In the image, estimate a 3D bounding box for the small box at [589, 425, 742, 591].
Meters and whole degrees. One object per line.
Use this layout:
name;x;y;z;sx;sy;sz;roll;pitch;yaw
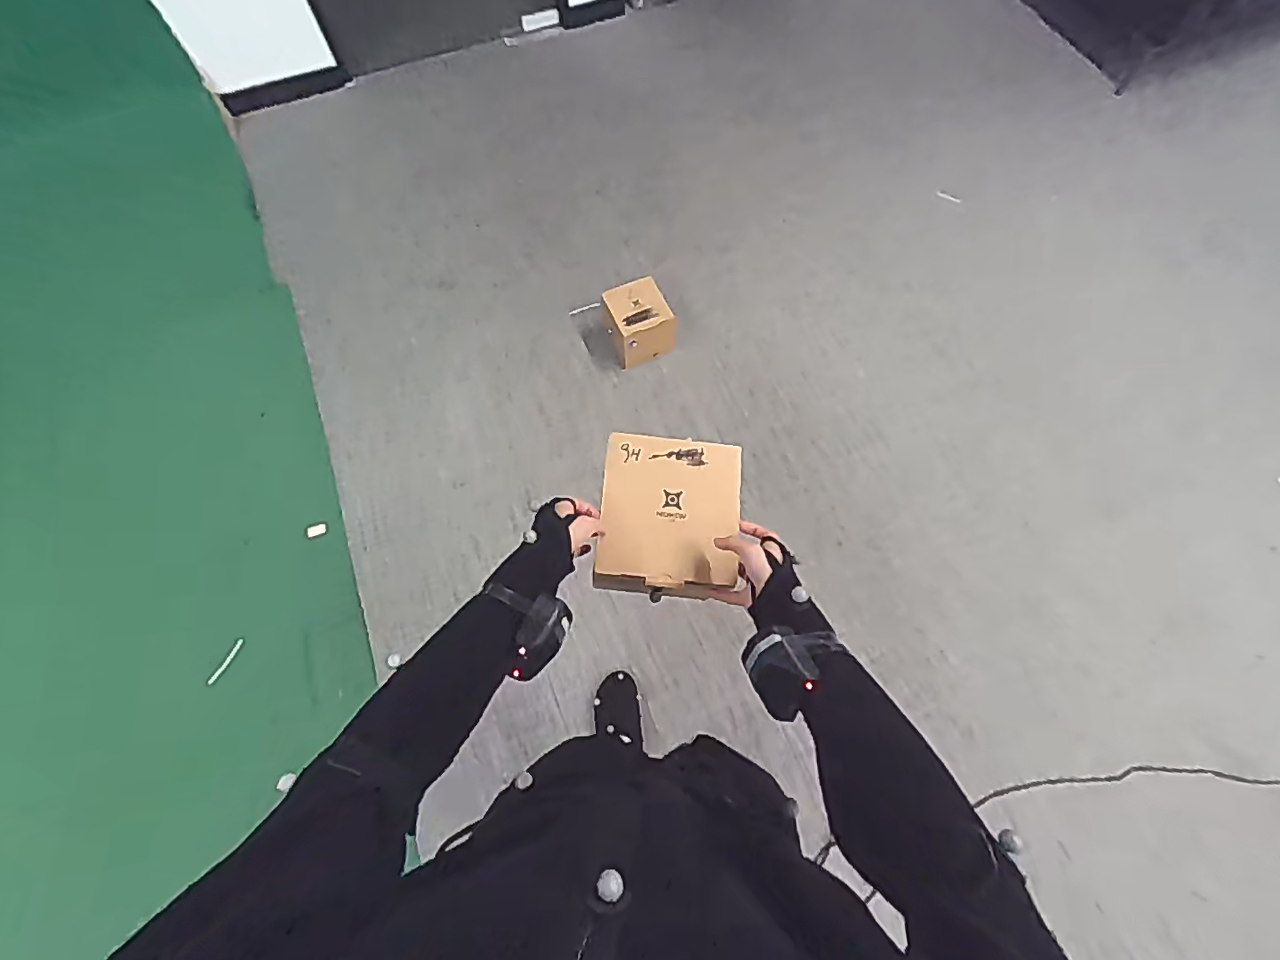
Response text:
small box;0.028;0.047;0.707;0.168;0.176;0.179;7;74;-3
